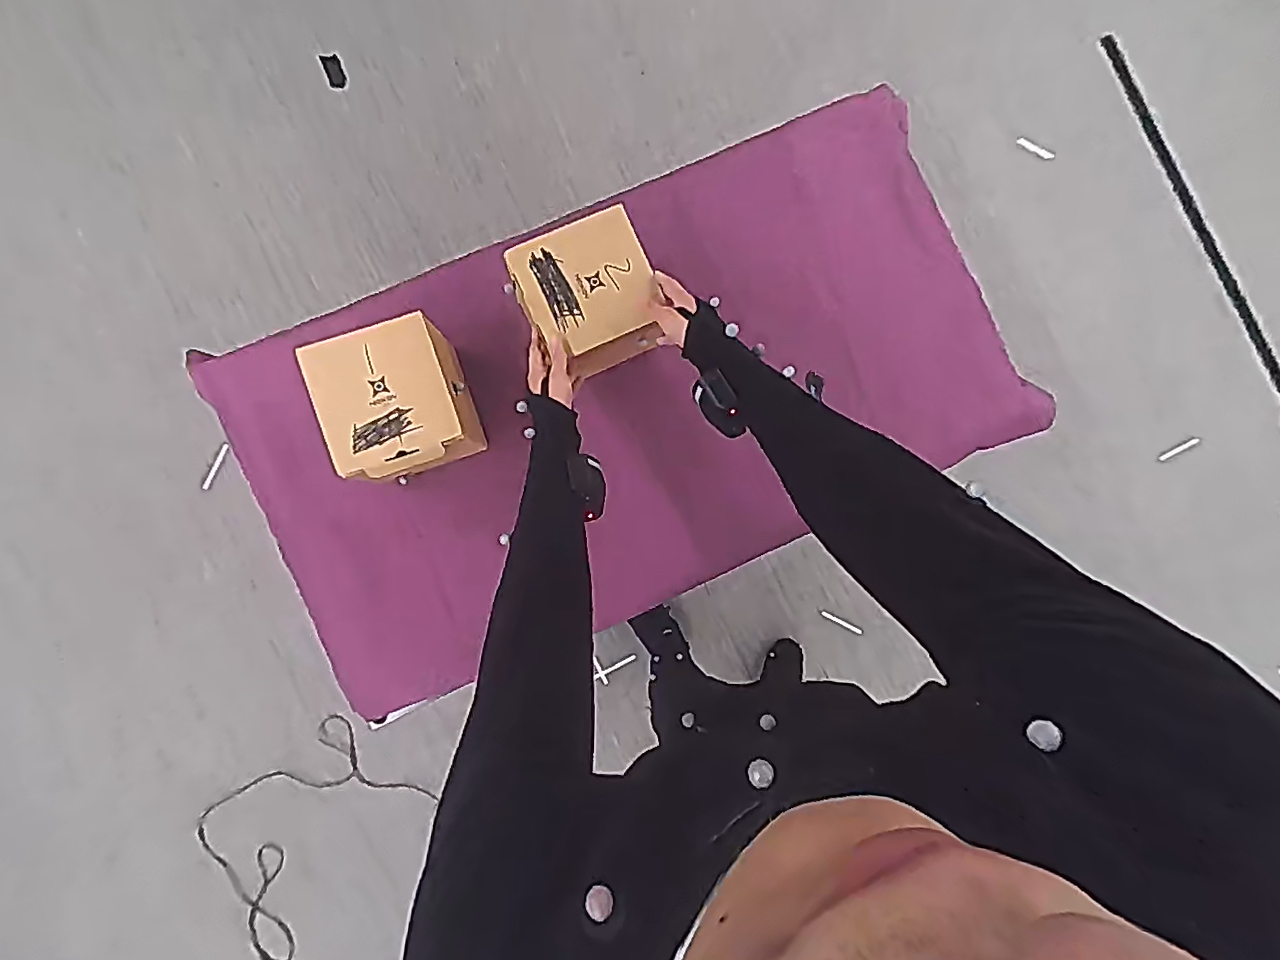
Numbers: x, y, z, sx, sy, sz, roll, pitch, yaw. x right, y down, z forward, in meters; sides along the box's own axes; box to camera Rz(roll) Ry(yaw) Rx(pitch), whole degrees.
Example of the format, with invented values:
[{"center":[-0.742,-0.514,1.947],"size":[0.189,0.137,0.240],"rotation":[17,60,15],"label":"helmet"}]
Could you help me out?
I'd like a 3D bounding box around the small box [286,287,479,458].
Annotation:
[{"center":[-0.339,-0.136,0.750],"size":[0.168,0.176,0.179],"rotation":[-20,91,-7],"label":"small box"}]
